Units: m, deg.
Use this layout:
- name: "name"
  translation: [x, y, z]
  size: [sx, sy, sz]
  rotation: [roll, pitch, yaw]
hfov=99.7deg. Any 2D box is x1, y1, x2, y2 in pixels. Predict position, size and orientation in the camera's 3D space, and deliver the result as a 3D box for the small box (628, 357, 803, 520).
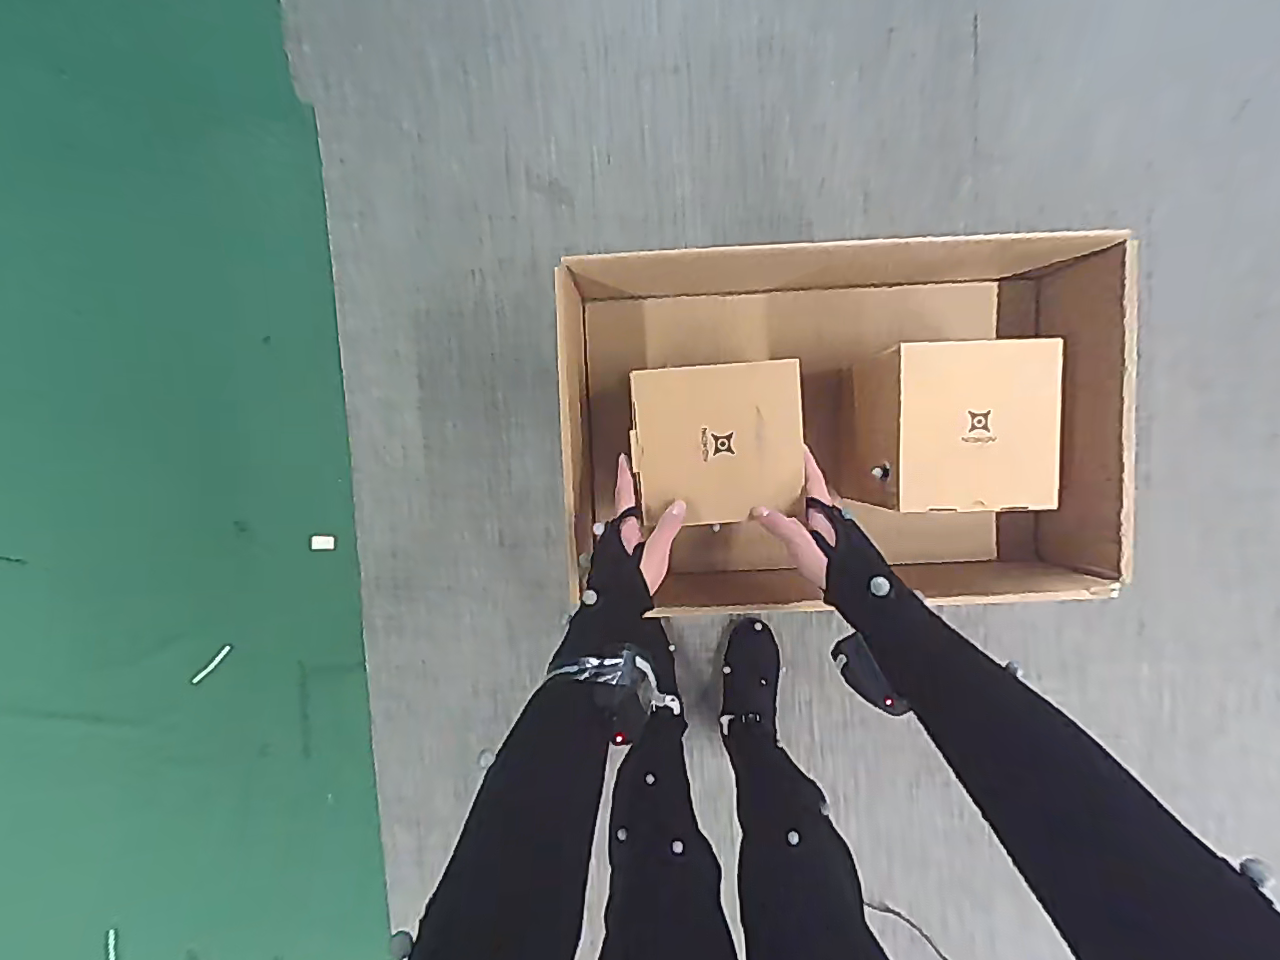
- name: "small box"
  translation: [0.081, -0.046, 0.637]
  size: [0.179, 0.176, 0.168]
  rotation: [-3, 94, 1]
